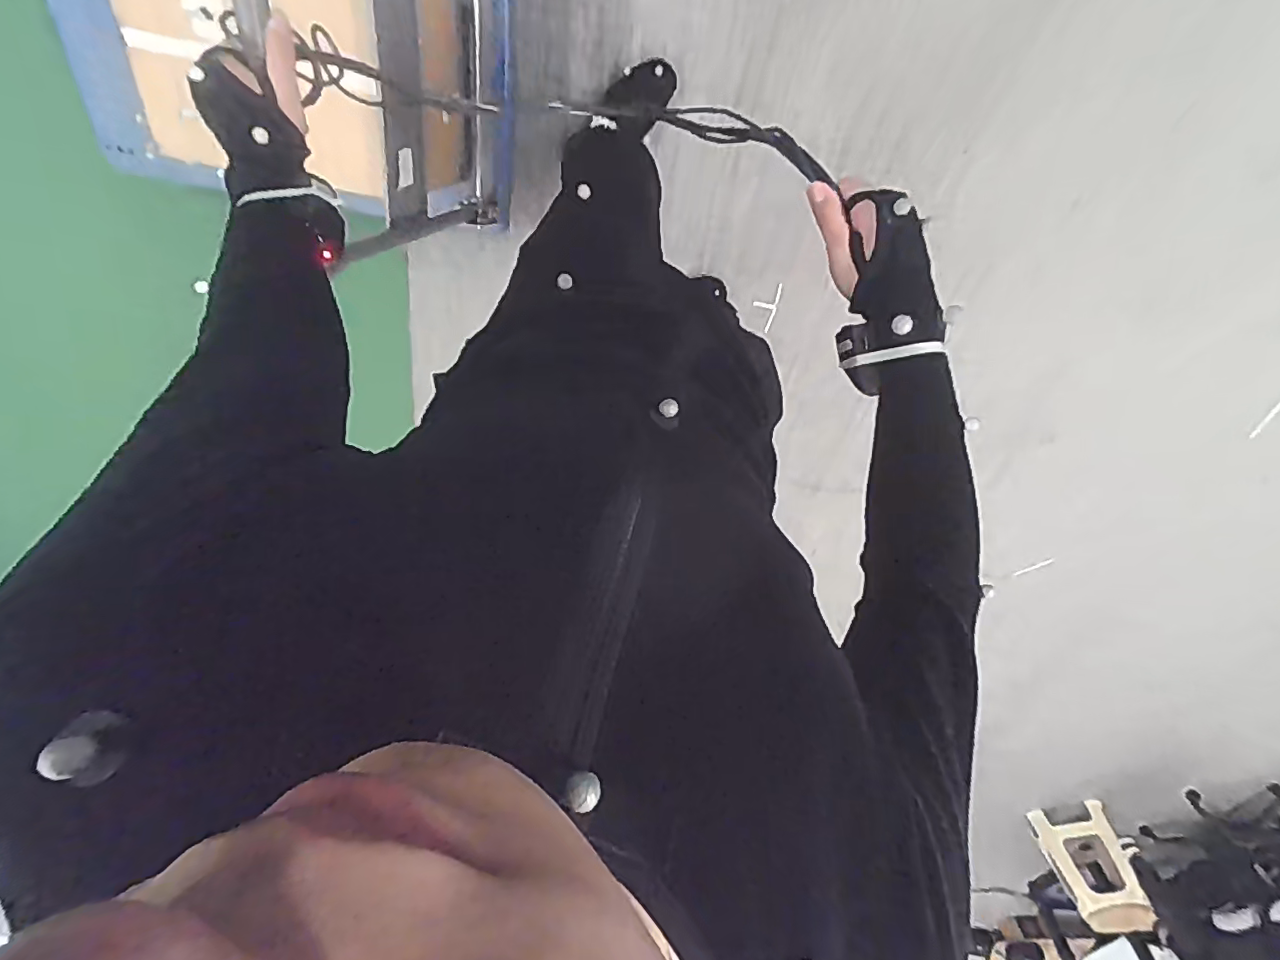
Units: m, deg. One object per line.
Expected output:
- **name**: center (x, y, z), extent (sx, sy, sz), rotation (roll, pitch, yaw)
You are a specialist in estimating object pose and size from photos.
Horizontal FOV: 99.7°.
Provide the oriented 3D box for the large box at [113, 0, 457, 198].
- **large box**: center (-0.570, -0.718, 0.945), extent (0.408, 0.320, 0.320), rotation (10, 124, -3)
